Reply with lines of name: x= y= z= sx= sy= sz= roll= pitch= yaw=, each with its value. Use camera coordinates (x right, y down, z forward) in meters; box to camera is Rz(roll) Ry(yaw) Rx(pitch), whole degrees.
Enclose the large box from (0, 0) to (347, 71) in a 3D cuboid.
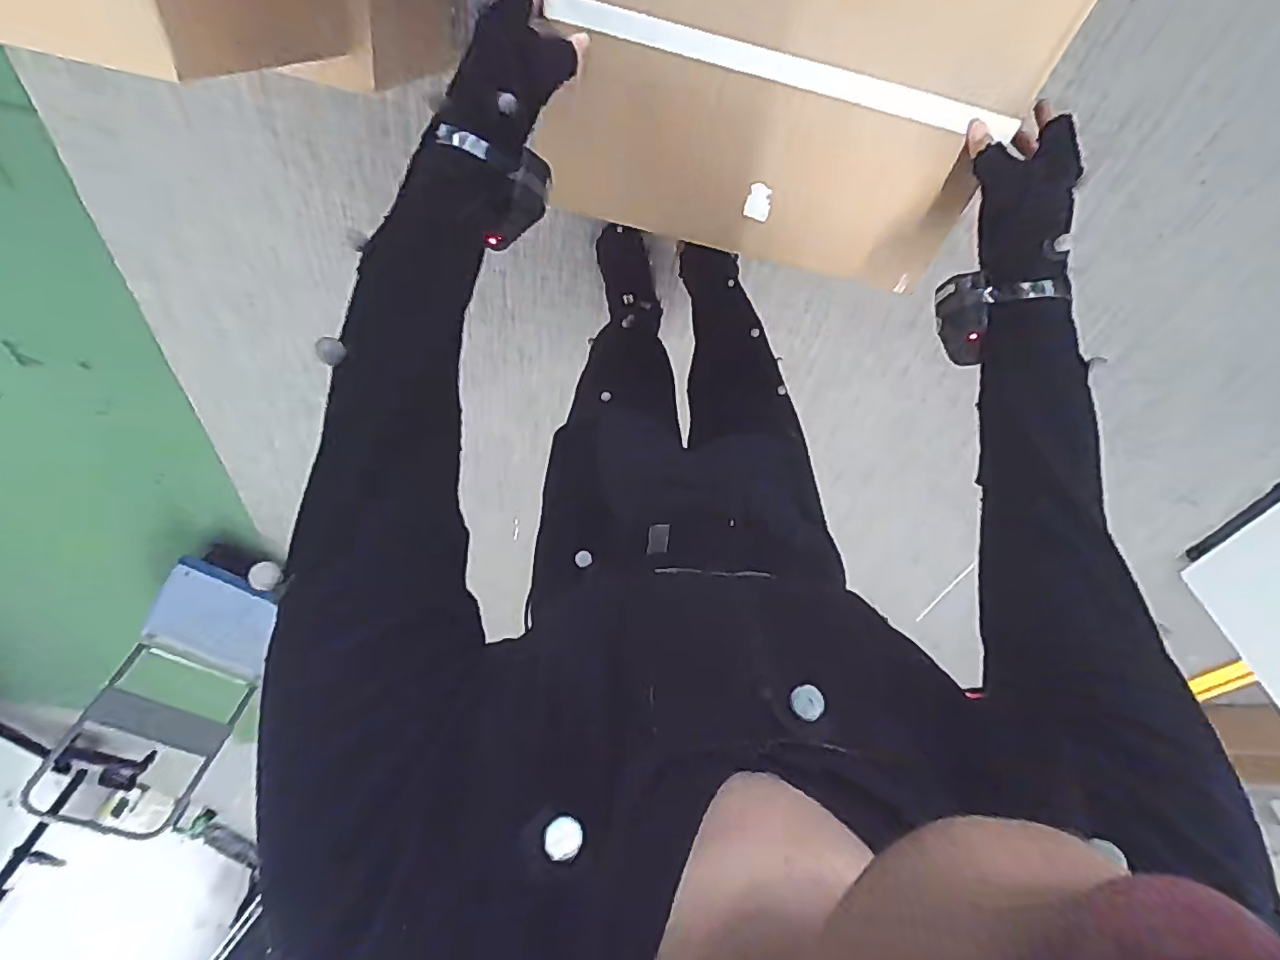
large box: x=-0.563 y=-0.616 z=0.497 sx=0.408 sy=0.320 sz=0.320 roll=11 pitch=131 yaw=-4
